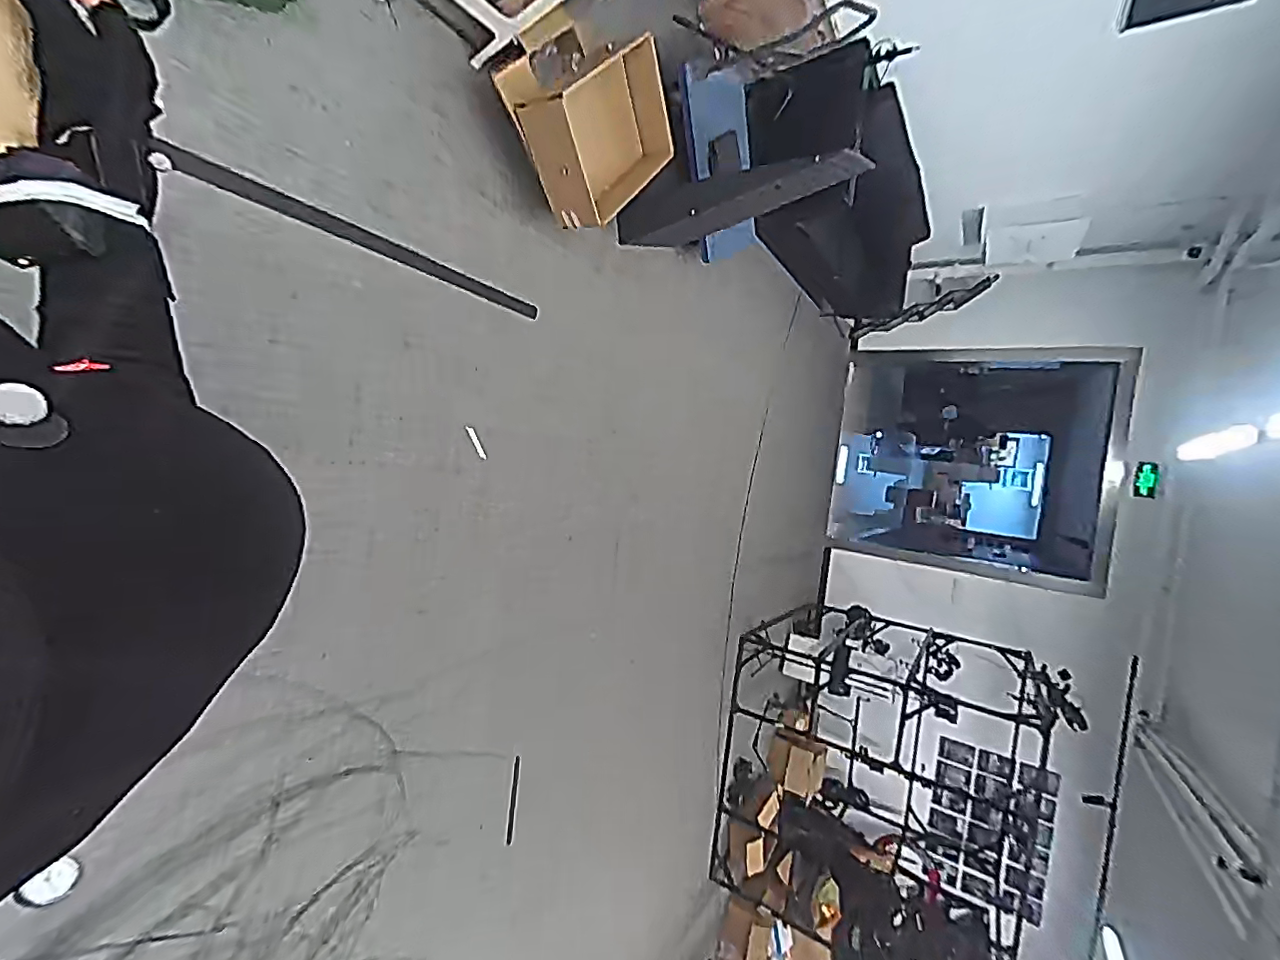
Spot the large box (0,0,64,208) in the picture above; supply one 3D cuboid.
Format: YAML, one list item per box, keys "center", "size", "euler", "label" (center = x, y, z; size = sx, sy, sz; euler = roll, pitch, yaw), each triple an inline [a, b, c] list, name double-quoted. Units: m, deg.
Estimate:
- center: [-0.660, -0.362, 0.286]
  size: [0.408, 0.320, 0.320]
  euler: [-15, 117, -60]
  label: "large box"
